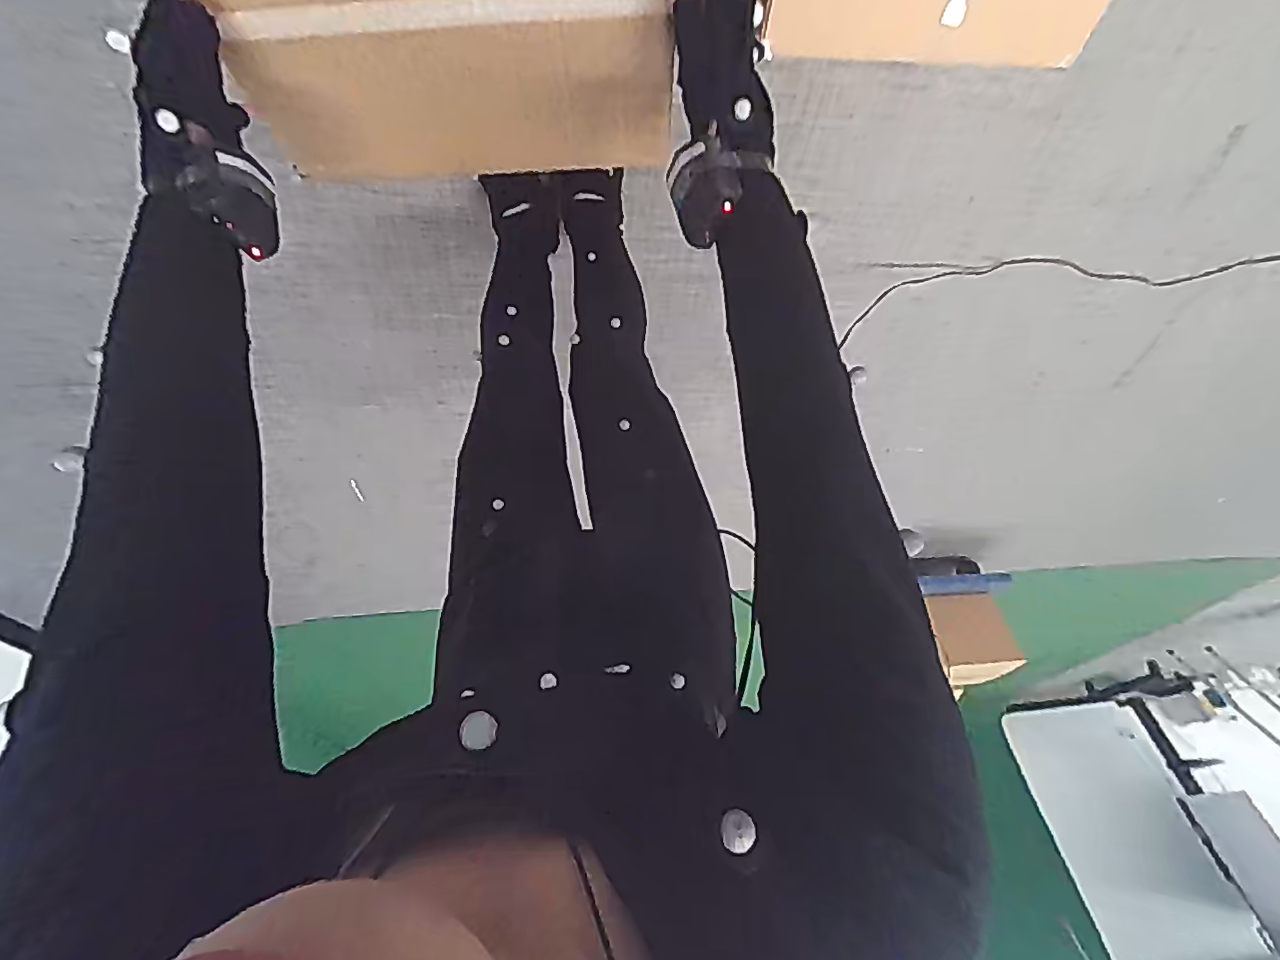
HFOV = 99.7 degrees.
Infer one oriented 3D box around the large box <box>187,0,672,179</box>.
[{"bbox_3d":[-0.175,-0.534,0.506,0.408,0.320,0.320,-2,157,1],"label":"large box"}]
